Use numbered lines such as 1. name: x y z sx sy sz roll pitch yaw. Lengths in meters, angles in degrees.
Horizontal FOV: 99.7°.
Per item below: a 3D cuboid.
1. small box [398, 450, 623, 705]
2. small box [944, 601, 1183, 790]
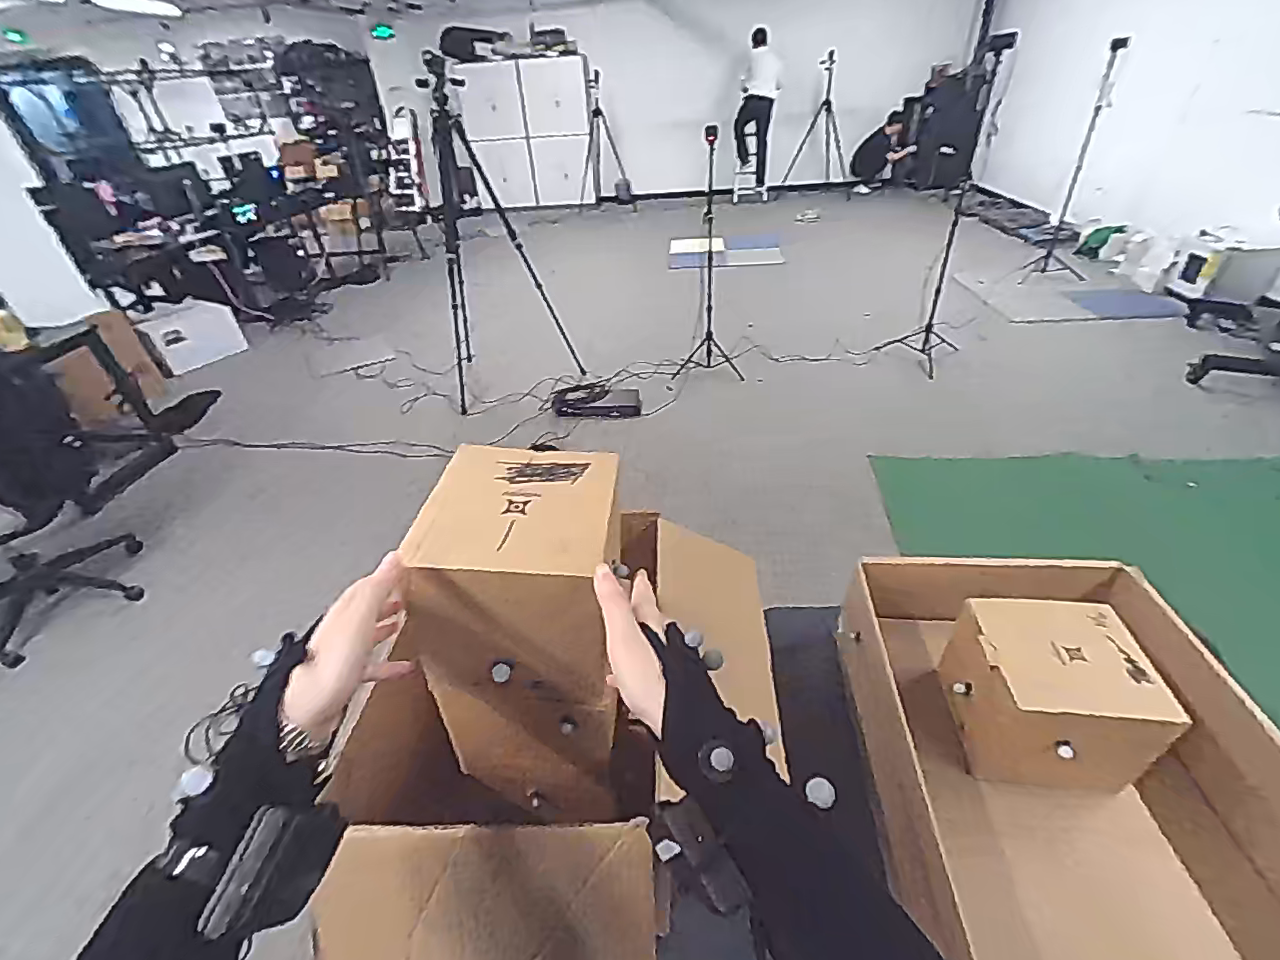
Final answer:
1. small box: -0.106 0.089 0.529 0.168 0.176 0.179 3 36 2
2. small box: 0.519 0.277 0.702 0.179 0.176 0.168 0 37 9
